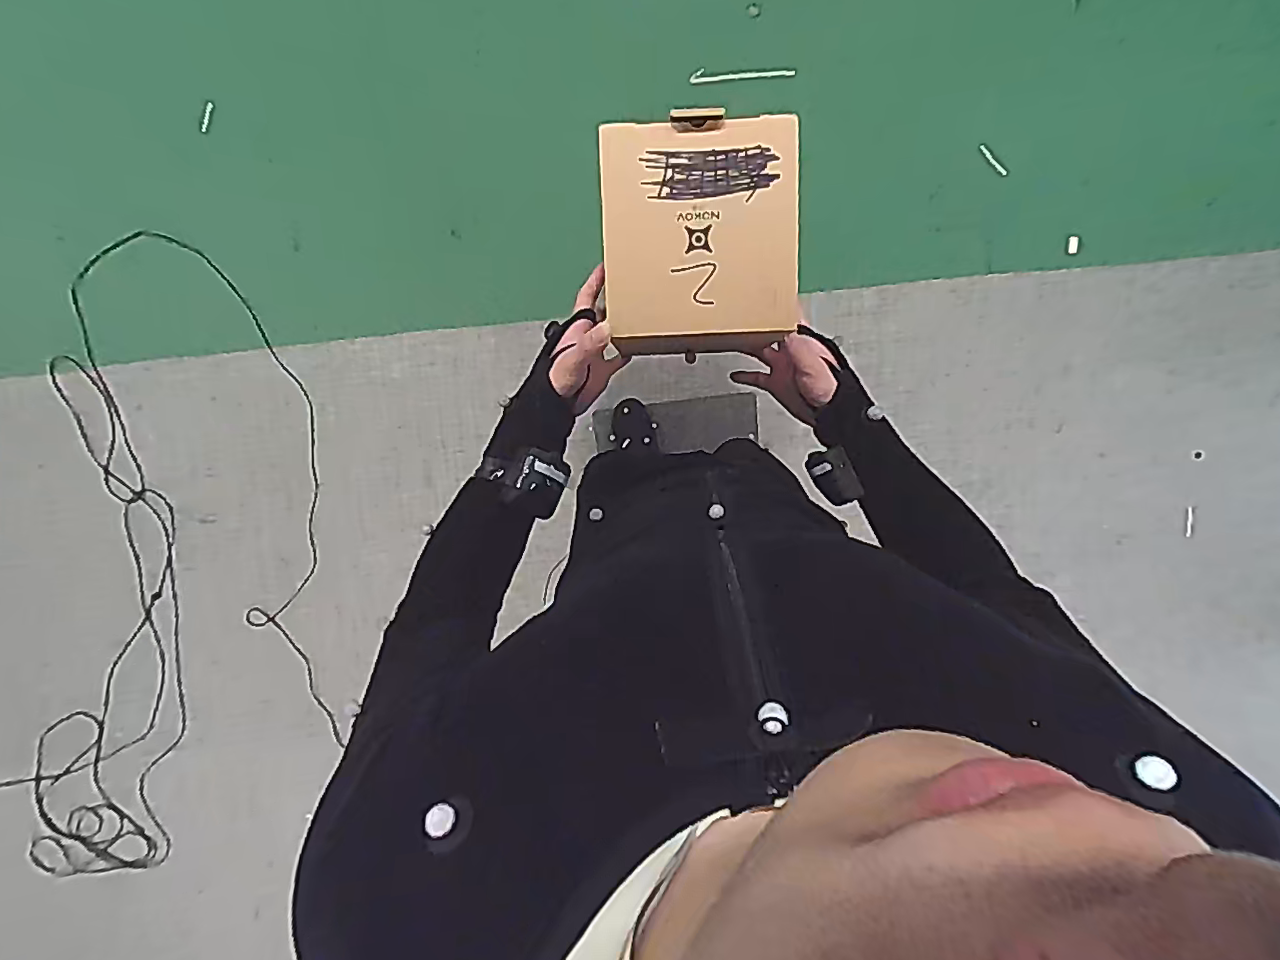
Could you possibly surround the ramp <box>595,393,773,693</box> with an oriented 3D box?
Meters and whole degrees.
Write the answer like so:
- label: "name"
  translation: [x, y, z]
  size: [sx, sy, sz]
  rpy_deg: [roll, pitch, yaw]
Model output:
- label: "ramp"
  translation: [0.167, 0.241, 1.726]
  size: [0.509, 0.206, 0.991]
  rpy_deg: [-9, 98, 0]
